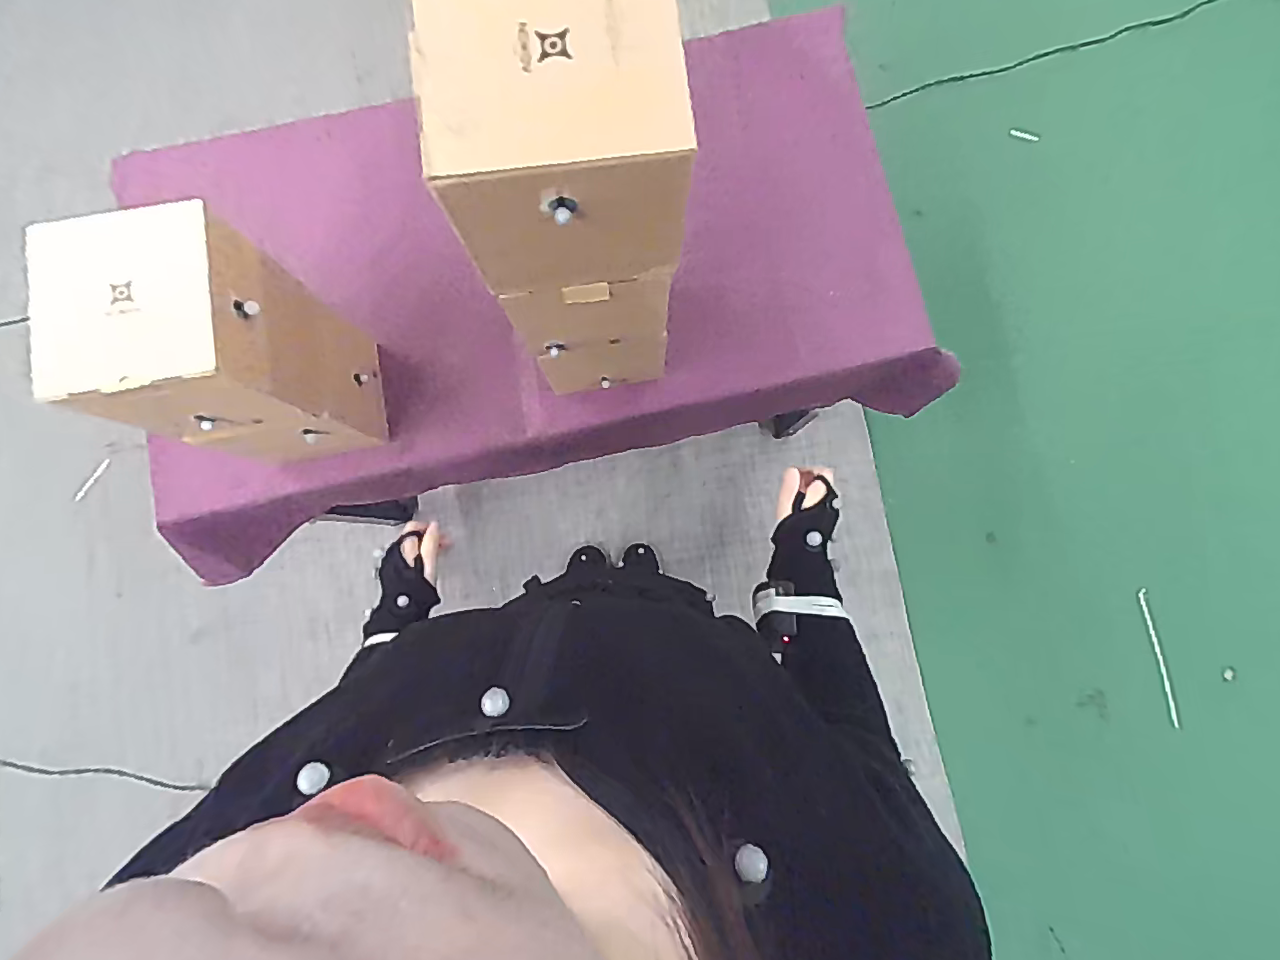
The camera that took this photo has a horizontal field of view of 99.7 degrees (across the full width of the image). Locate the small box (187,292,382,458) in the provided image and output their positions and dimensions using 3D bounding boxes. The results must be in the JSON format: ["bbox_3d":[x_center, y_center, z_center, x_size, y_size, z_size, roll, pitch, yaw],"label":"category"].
[{"bbox_3d":[-0.477,-0.134,0.746,0.179,0.176,0.168,-10,82,-1],"label":"small box"}]

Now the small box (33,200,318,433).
[{"bbox_3d":[-0.482,-0.162,0.585,0.168,0.176,0.179,-10,84,-1],"label":"small box"}]

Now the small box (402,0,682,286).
[{"bbox_3d":[-0.065,-0.270,0.430,0.179,0.176,0.168,-6,85,-1],"label":"small box"}]

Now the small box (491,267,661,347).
[{"bbox_3d":[-0.067,-0.257,0.592,0.168,0.176,0.179,-7,82,0],"label":"small box"}]
